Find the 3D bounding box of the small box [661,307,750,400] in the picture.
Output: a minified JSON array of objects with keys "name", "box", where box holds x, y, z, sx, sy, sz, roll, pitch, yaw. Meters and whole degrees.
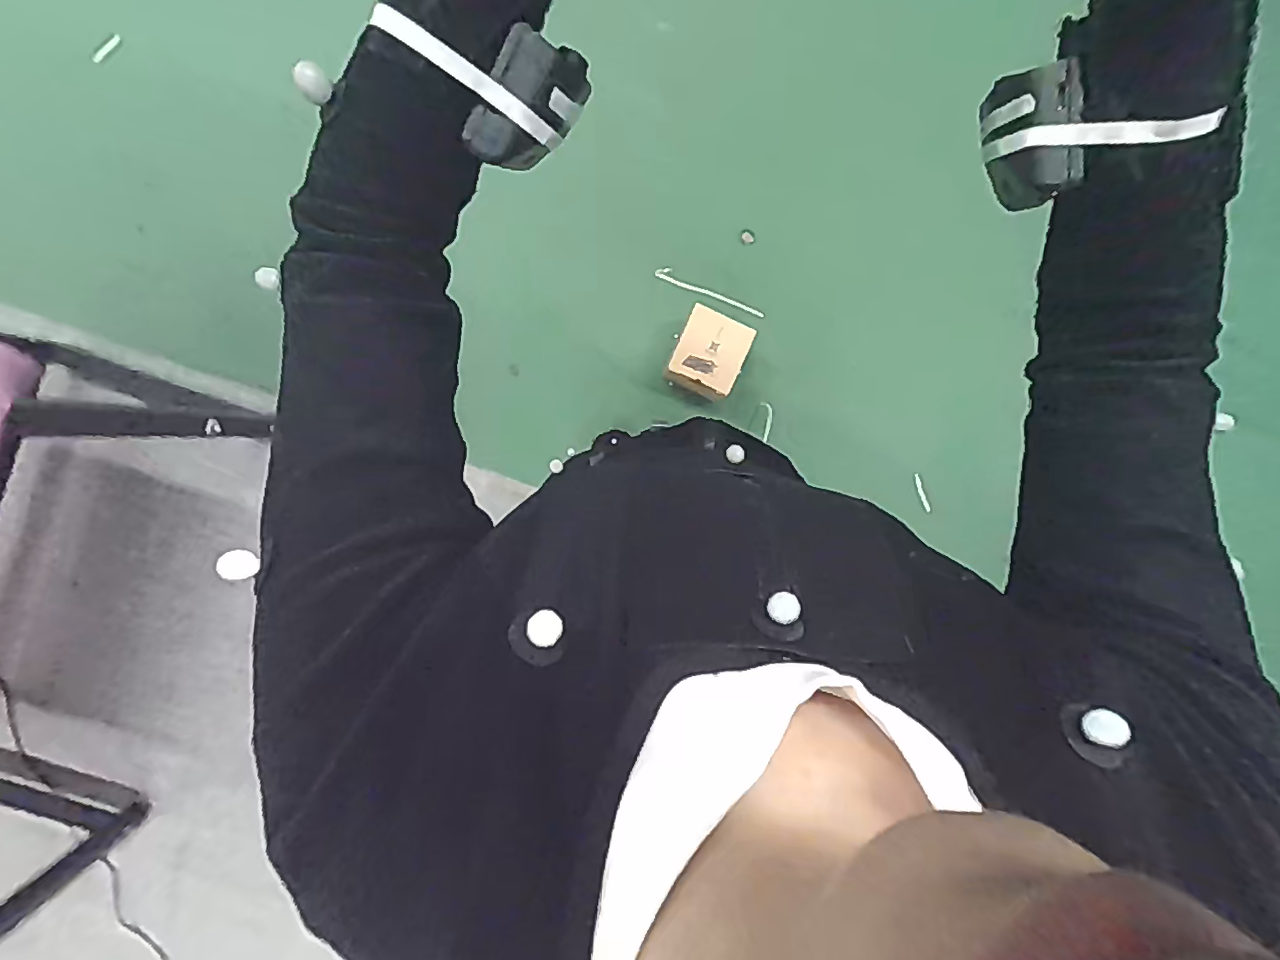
[{"name":"small box","box":[0.160,-0.315,1.386,0.168,0.176,0.179,21,94,-5]}]
